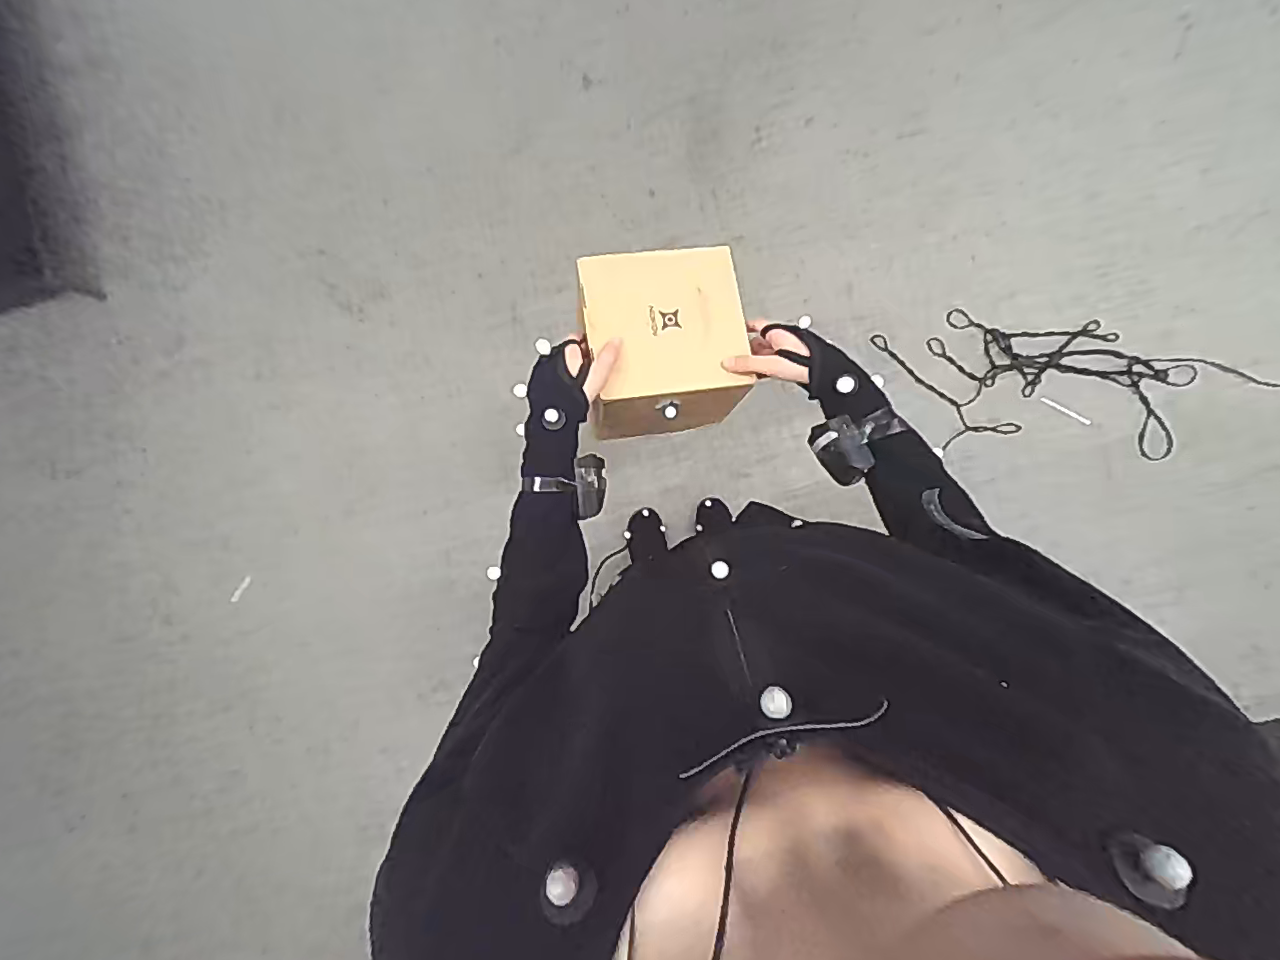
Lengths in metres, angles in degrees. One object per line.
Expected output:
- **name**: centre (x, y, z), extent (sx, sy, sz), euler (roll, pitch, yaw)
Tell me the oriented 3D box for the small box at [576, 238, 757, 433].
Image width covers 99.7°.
- **small box**: centre (0.020, -0.161, 0.647), extent (0.179, 0.176, 0.168), euler (-7, 80, -7)
